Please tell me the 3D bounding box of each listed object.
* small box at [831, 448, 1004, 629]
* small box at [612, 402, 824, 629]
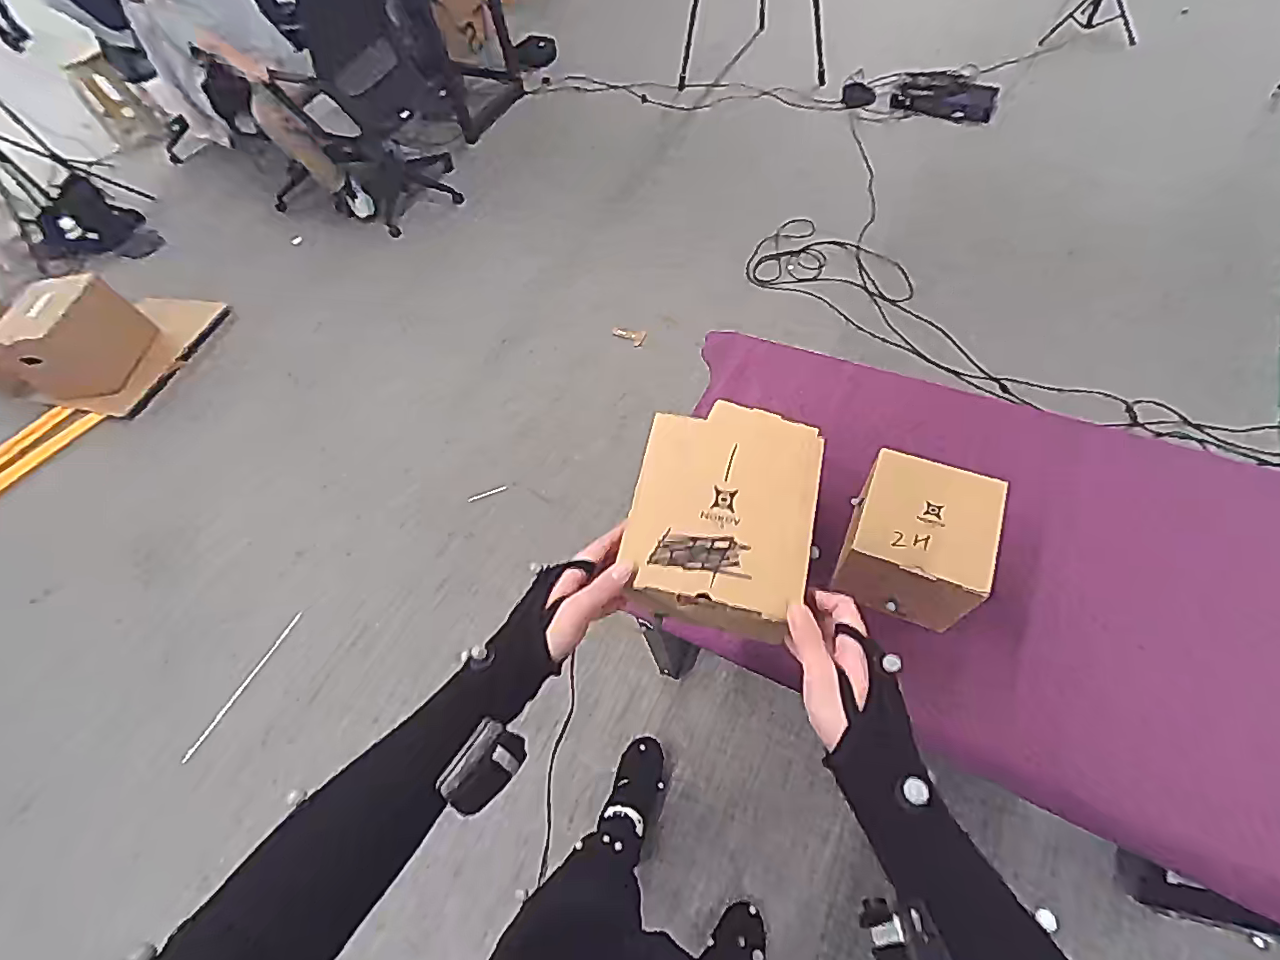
[{"bbox_3d":[0.390,0.088,0.783,0.168,0.176,0.179,19,63,18],"label":"small box"},{"bbox_3d":[0.083,0.046,0.563,0.168,0.176,0.179,11,68,11],"label":"small box"}]
